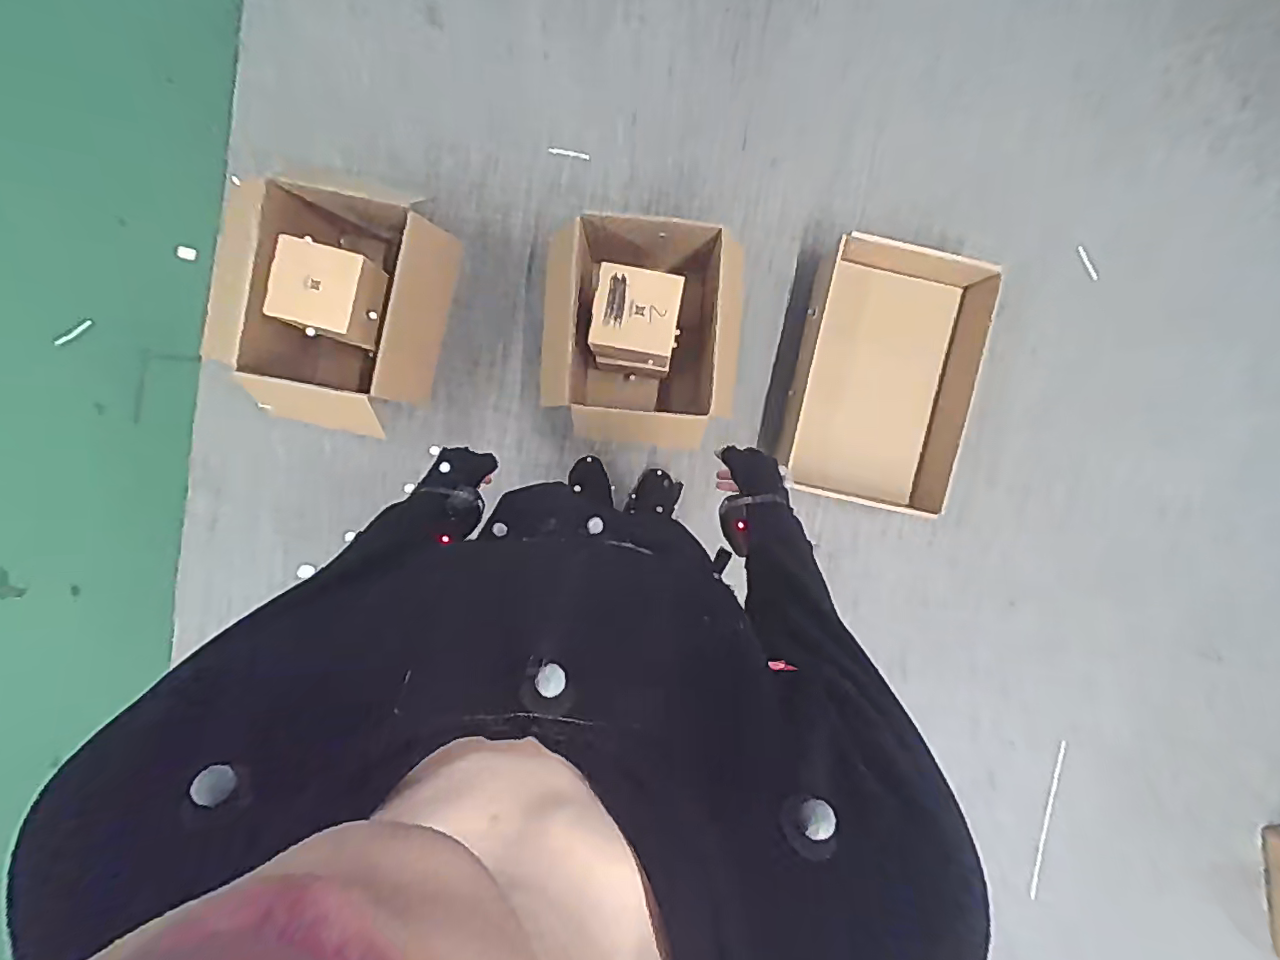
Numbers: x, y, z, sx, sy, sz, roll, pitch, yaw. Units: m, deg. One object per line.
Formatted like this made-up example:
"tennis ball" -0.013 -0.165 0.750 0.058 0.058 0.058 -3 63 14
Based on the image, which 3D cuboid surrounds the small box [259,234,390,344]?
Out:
"small box" -0.671 -0.402 1.171 0.179 0.176 0.168 13 93 -3
